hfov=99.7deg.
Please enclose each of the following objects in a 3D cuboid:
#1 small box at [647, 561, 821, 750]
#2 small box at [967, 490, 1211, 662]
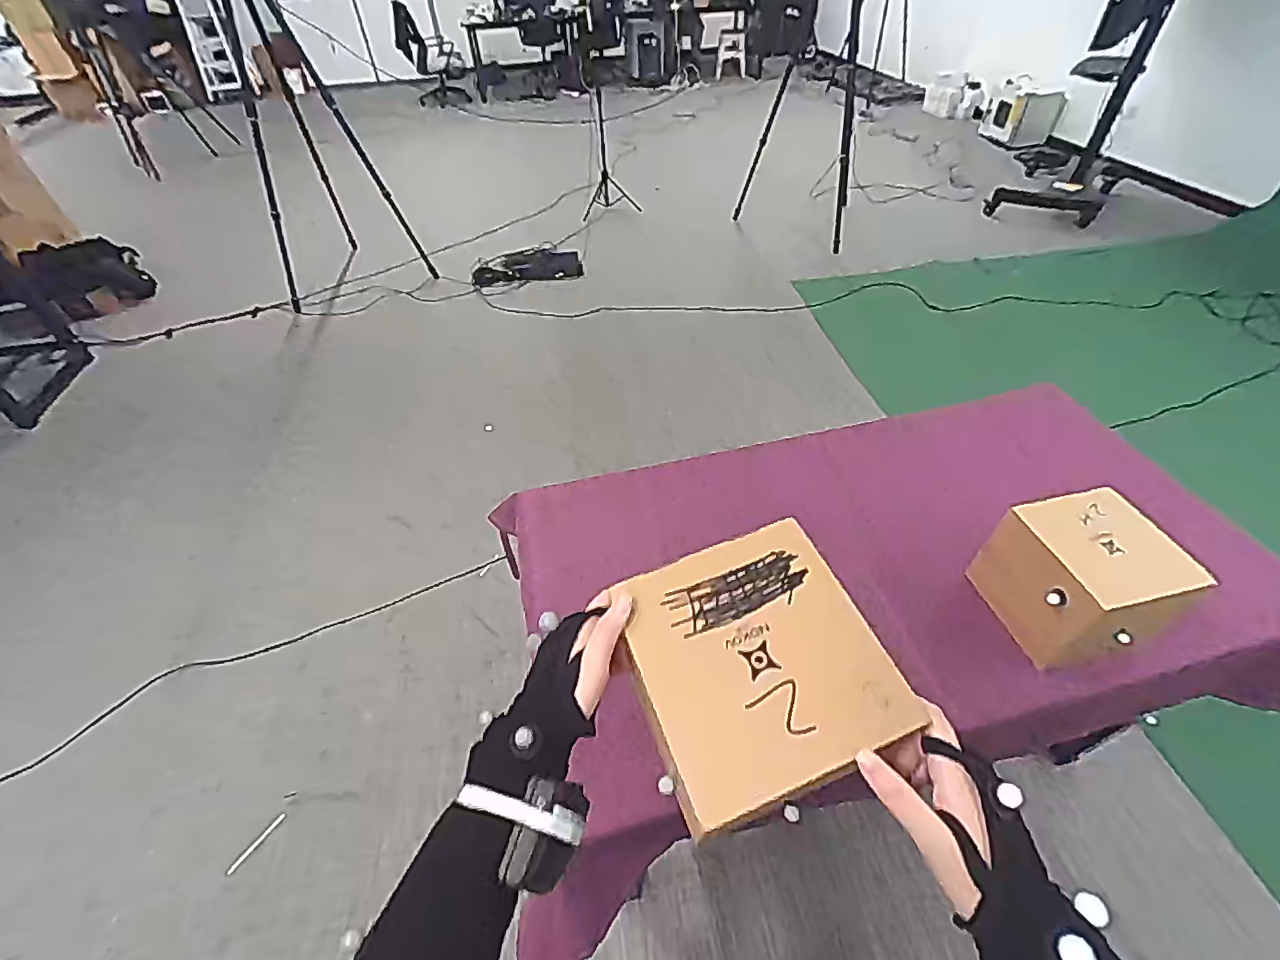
[{"bbox_3d":[0.113,0.237,0.723,0.179,0.176,0.168,-10,46,-7],"label":"small box"},{"bbox_3d":[0.625,0.144,0.783,0.168,0.176,0.179,-10,46,-7],"label":"small box"}]
